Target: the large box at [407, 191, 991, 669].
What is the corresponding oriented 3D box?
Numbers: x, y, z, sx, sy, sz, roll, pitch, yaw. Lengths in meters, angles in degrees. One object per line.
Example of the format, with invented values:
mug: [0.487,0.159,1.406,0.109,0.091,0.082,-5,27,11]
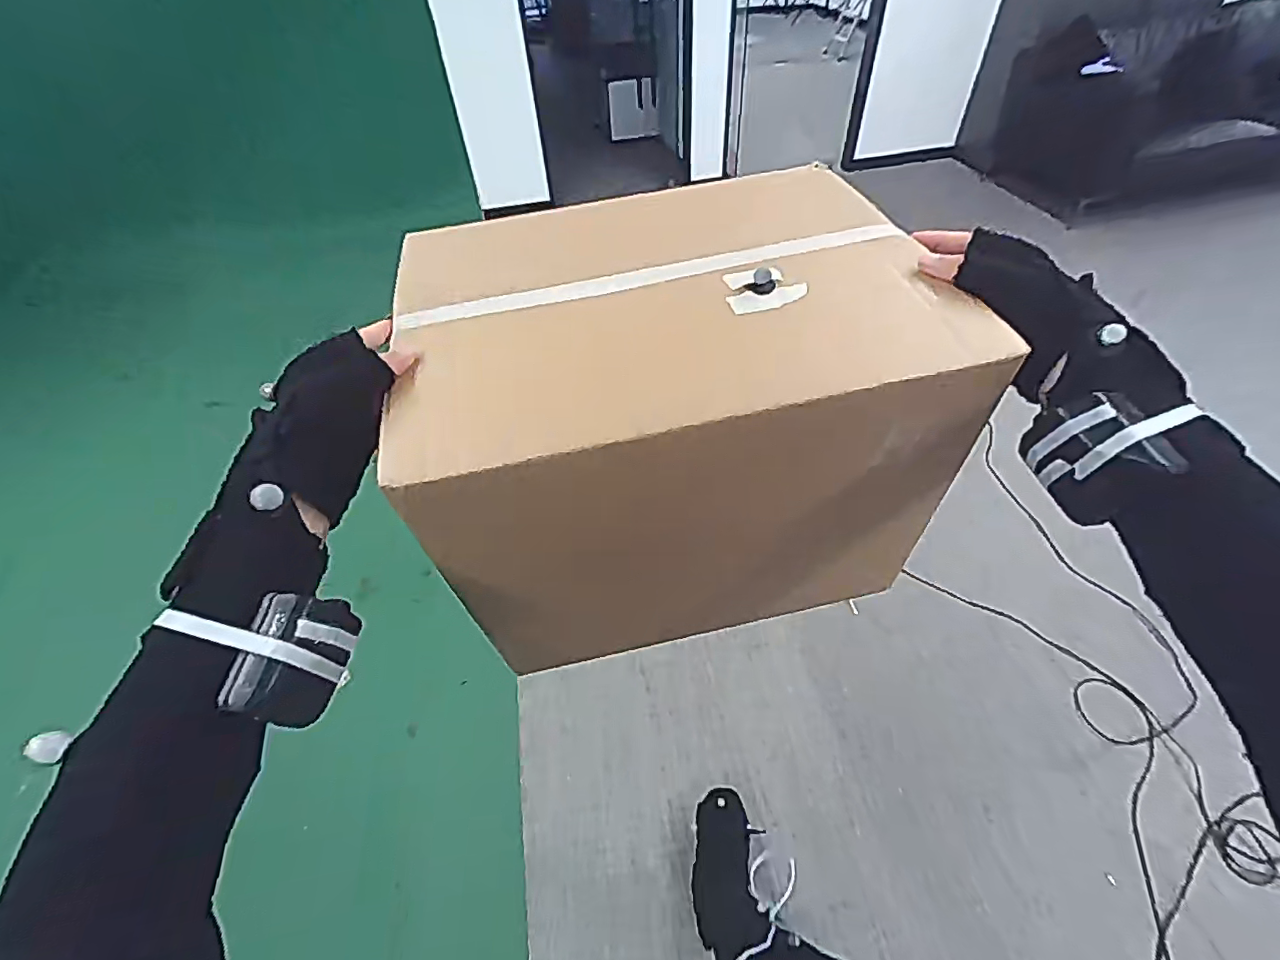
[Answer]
large box: [0.025,-0.051,0.555,0.408,0.320,0.320,-12,50,-5]
